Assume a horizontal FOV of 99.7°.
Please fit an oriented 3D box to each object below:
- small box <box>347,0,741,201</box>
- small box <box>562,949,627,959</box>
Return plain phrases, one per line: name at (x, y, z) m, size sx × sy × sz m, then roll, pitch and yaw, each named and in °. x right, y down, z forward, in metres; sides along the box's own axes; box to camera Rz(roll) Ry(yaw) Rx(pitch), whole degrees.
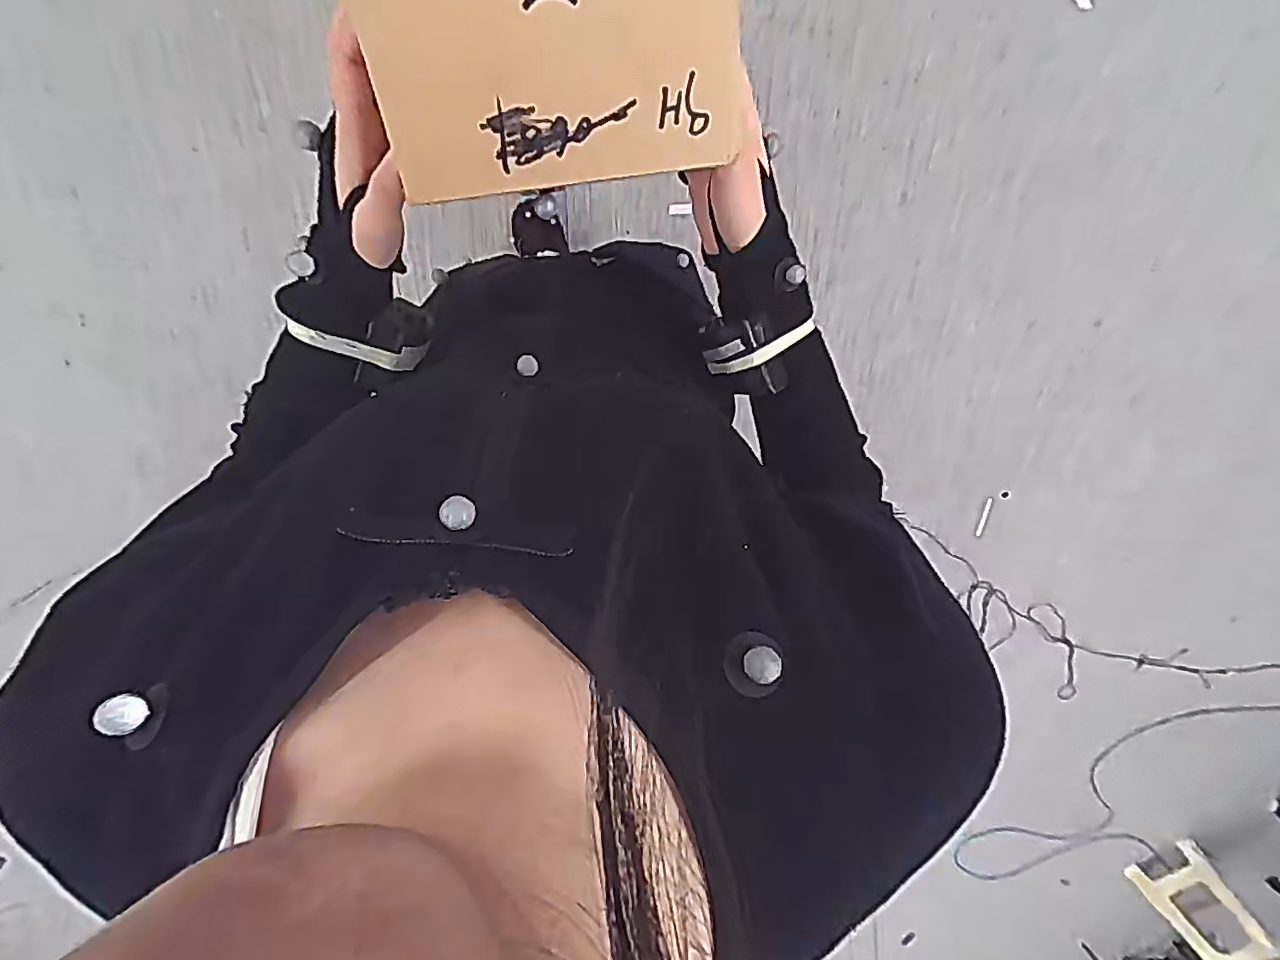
small box at (-0.051, -0.256, 0.286) m, size 0.168 × 0.176 × 0.179 m, roll -9°, pitch 121°, yaw -3°
small box at (-0.113, 1.282, 1.314) m, size 0.168 × 0.176 × 0.179 m, roll 1°, pitch 116°, yaw -4°
